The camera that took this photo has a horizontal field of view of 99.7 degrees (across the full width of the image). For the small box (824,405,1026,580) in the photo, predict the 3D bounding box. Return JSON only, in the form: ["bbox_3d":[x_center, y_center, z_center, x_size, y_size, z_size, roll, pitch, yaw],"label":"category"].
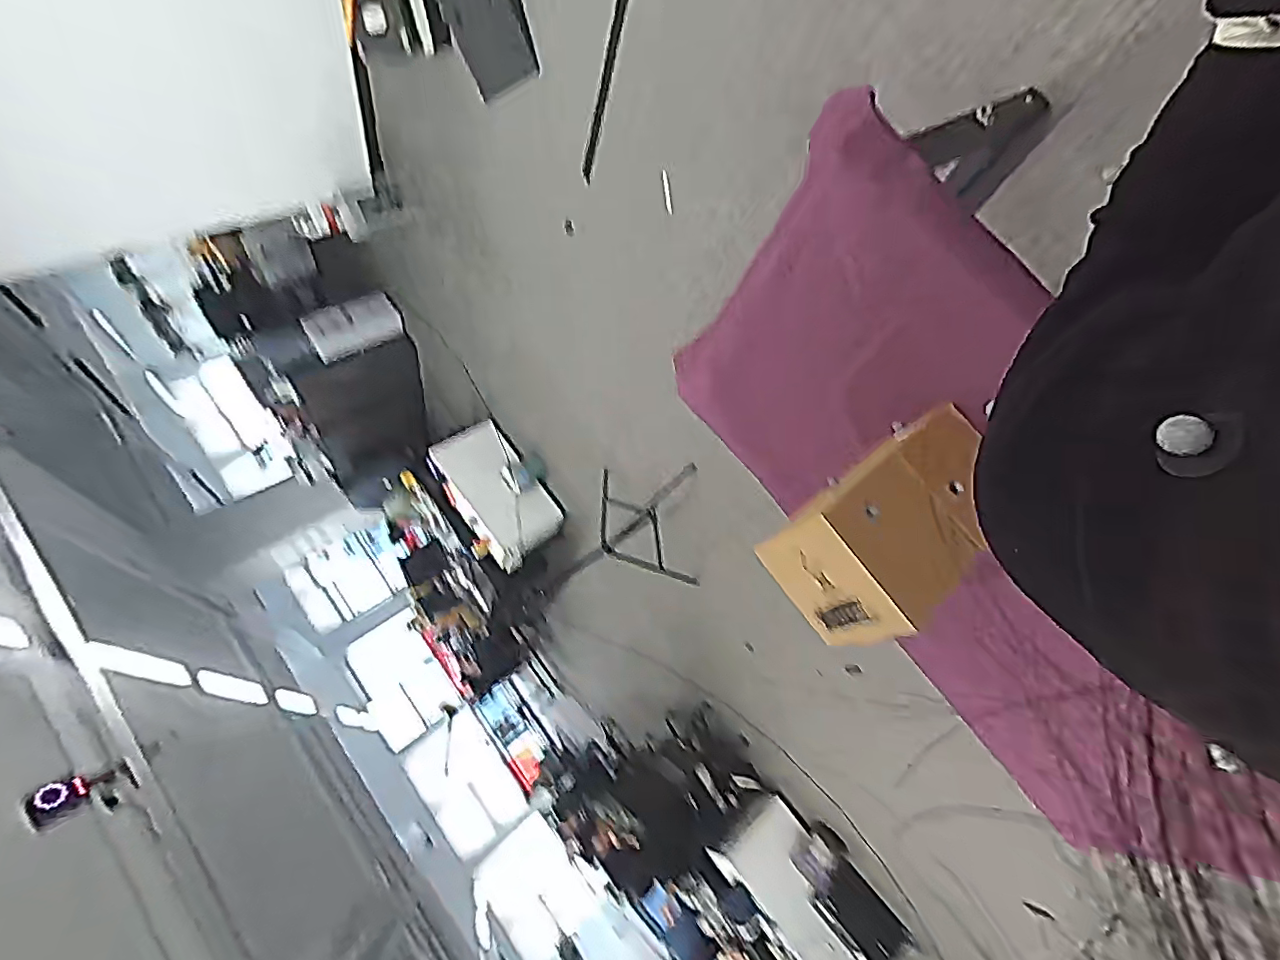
[{"bbox_3d":[0.427,0.018,0.815,0.179,0.176,0.168,53,151,9],"label":"small box"}]
